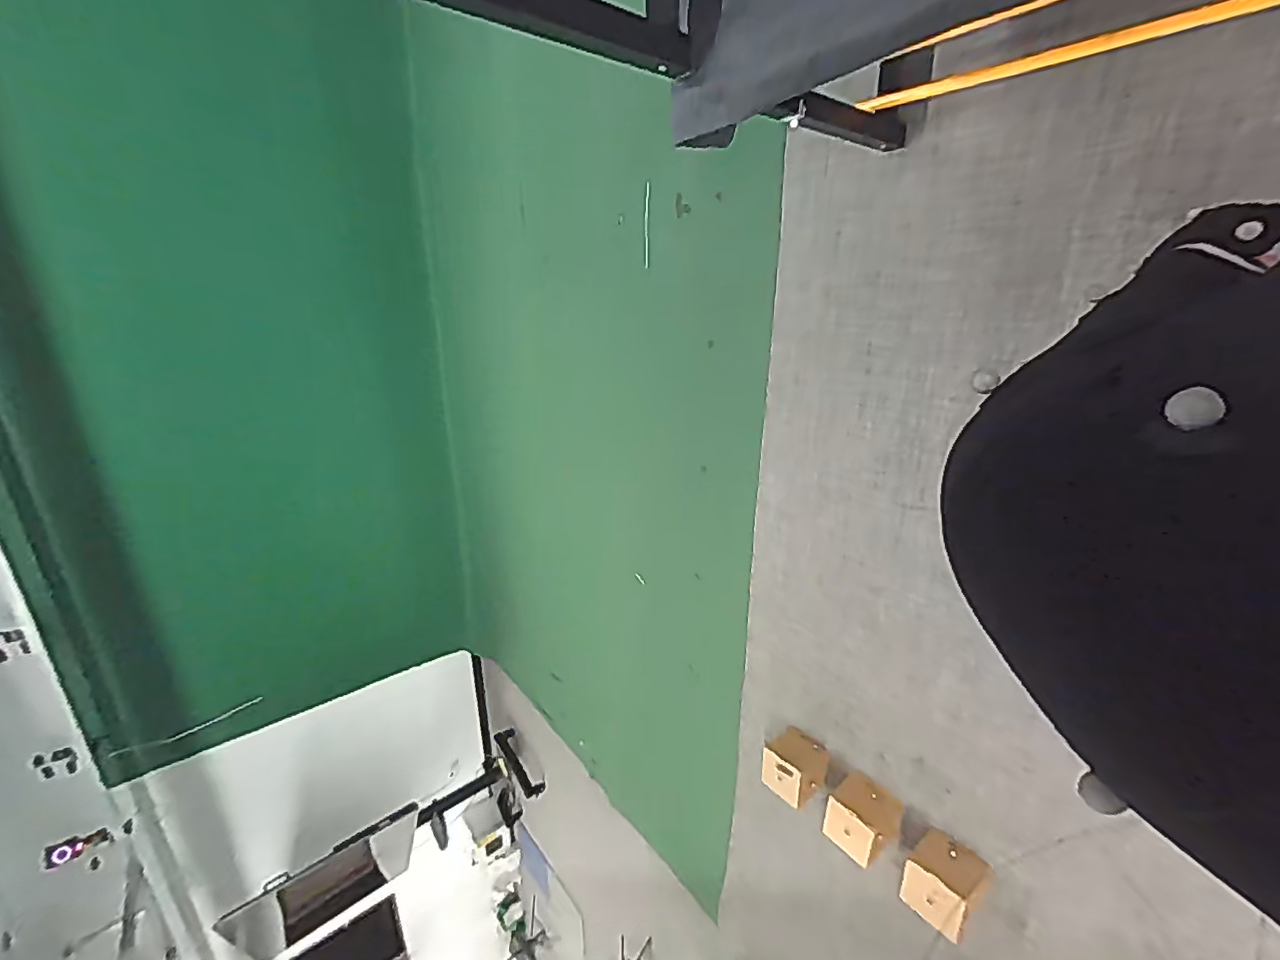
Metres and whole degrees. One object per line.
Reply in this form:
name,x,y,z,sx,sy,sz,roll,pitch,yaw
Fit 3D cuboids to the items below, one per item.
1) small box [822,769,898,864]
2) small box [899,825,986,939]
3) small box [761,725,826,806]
small box,0.744,1.128,1.824,0.168,0.176,0.179,25,120,47
small box,0.910,1.198,1.624,0.168,0.176,0.179,21,118,47
small box,0.576,1.057,2.021,0.168,0.176,0.179,21,118,48
